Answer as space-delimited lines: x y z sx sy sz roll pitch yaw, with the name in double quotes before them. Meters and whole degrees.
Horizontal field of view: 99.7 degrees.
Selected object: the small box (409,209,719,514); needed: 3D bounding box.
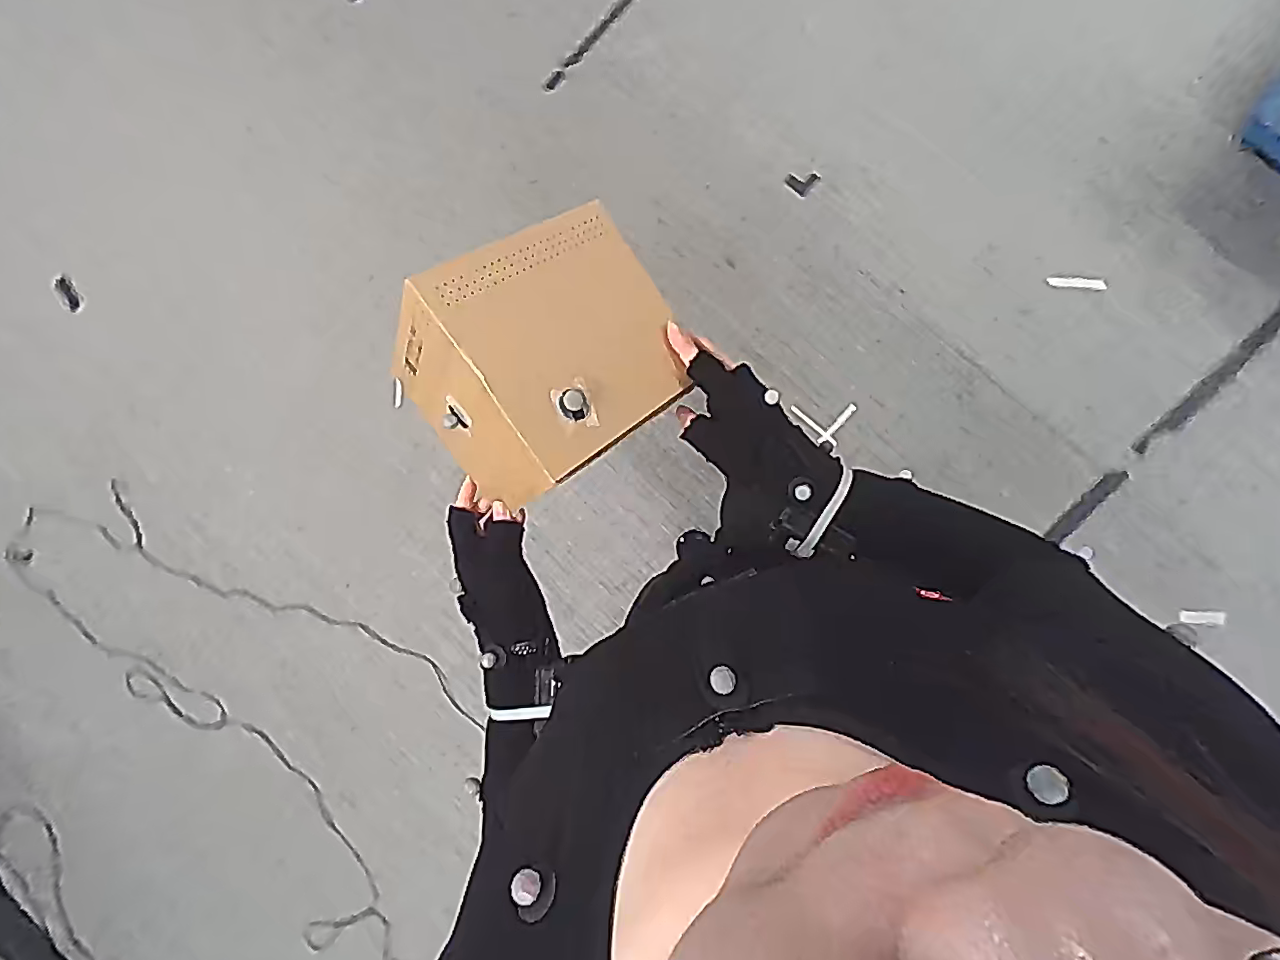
"small box" -0.074 -0.095 0.469 0.179 0.168 0.176 -38 99 -28
